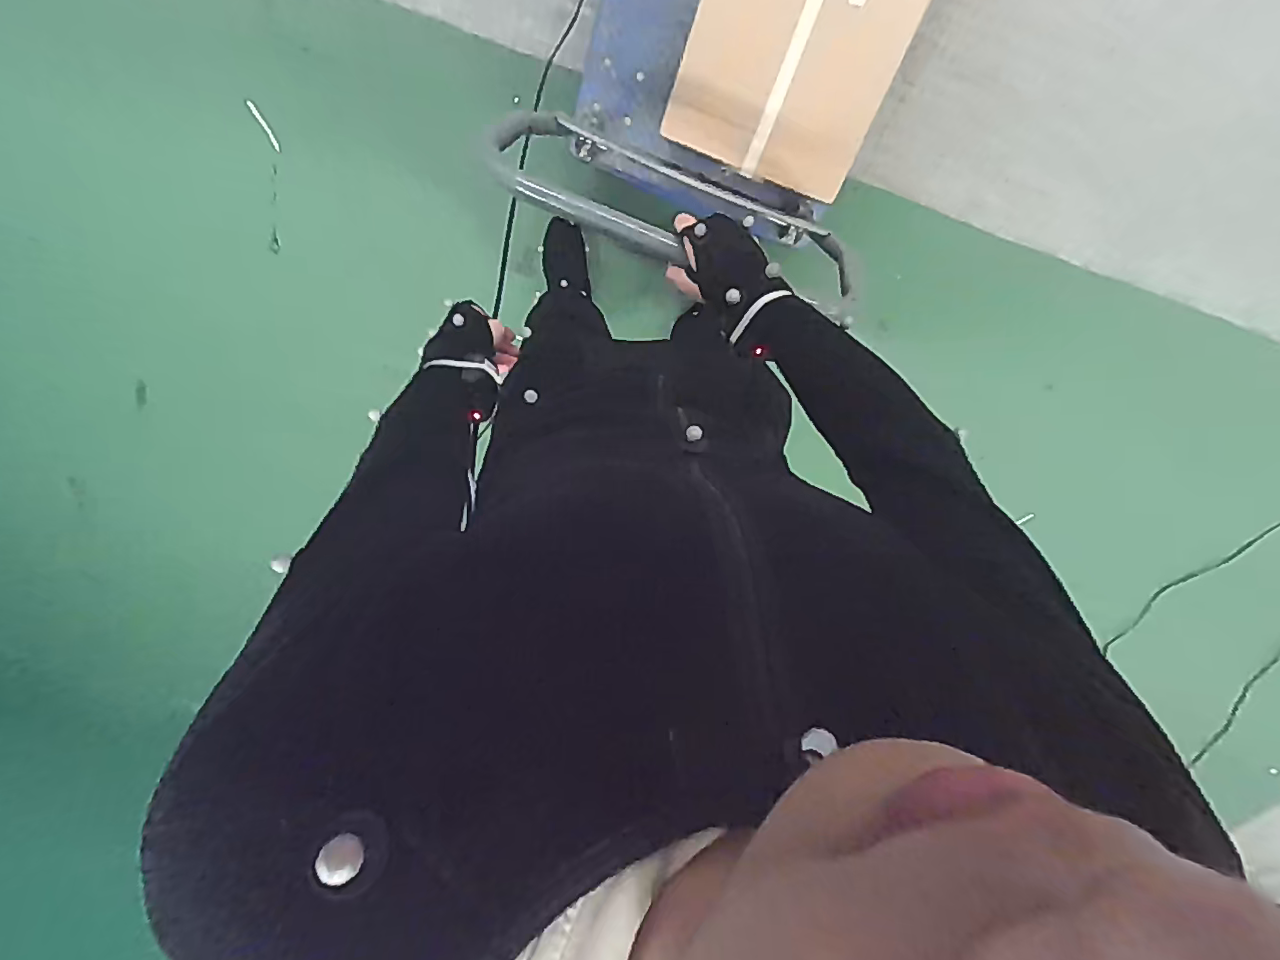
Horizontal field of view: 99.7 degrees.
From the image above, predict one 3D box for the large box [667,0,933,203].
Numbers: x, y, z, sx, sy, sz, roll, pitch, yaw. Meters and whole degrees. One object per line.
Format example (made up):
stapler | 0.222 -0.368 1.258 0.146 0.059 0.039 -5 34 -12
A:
large box | 0.264 -0.741 0.931 0.320 0.320 0.408 20 119 -5
